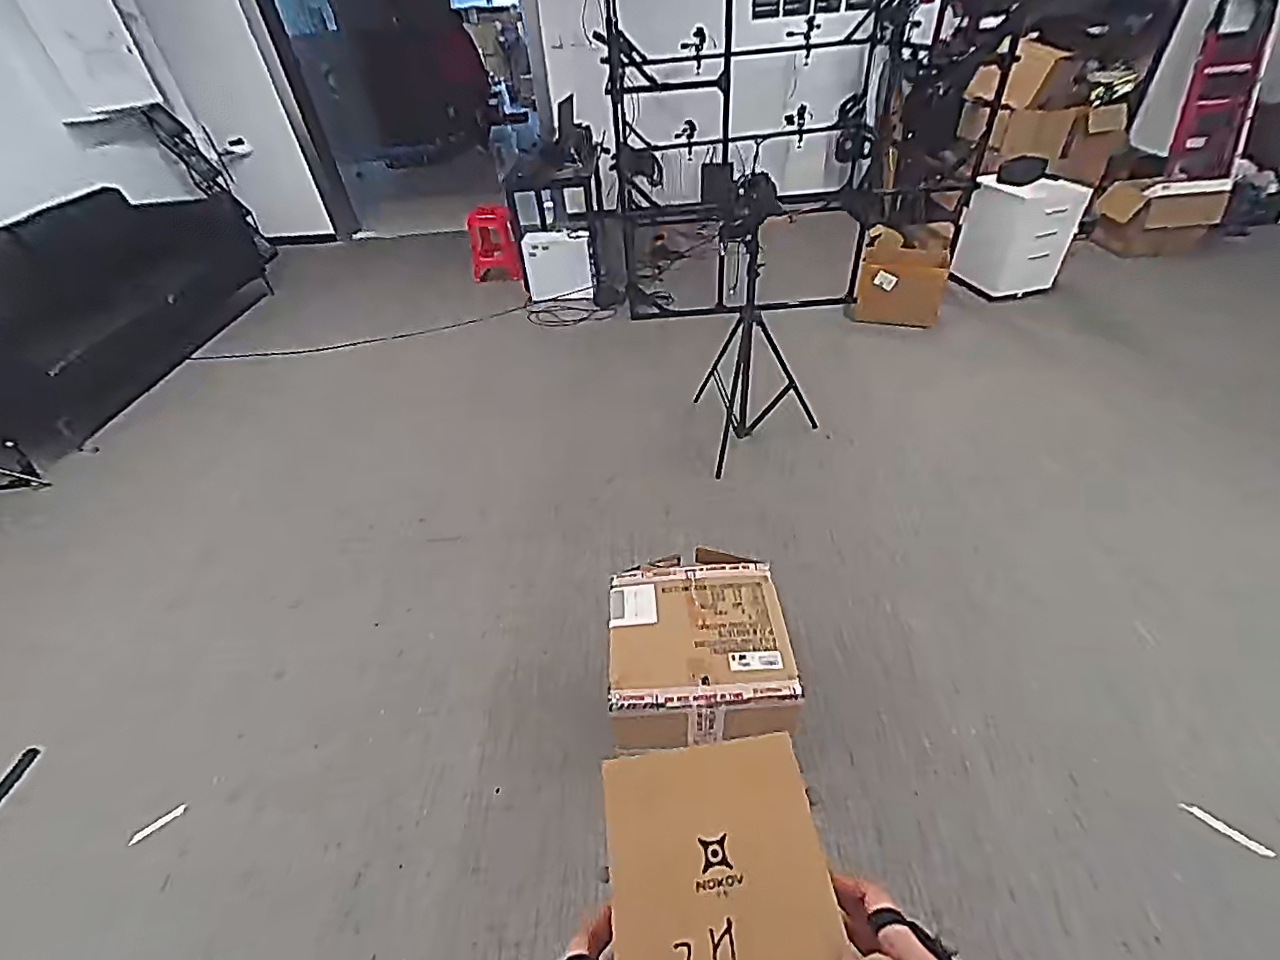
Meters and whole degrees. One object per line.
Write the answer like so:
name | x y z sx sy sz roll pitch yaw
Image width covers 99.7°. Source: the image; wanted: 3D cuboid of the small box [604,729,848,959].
small box | 0.065 0.347 0.476 0.168 0.176 0.179 -10 47 1
